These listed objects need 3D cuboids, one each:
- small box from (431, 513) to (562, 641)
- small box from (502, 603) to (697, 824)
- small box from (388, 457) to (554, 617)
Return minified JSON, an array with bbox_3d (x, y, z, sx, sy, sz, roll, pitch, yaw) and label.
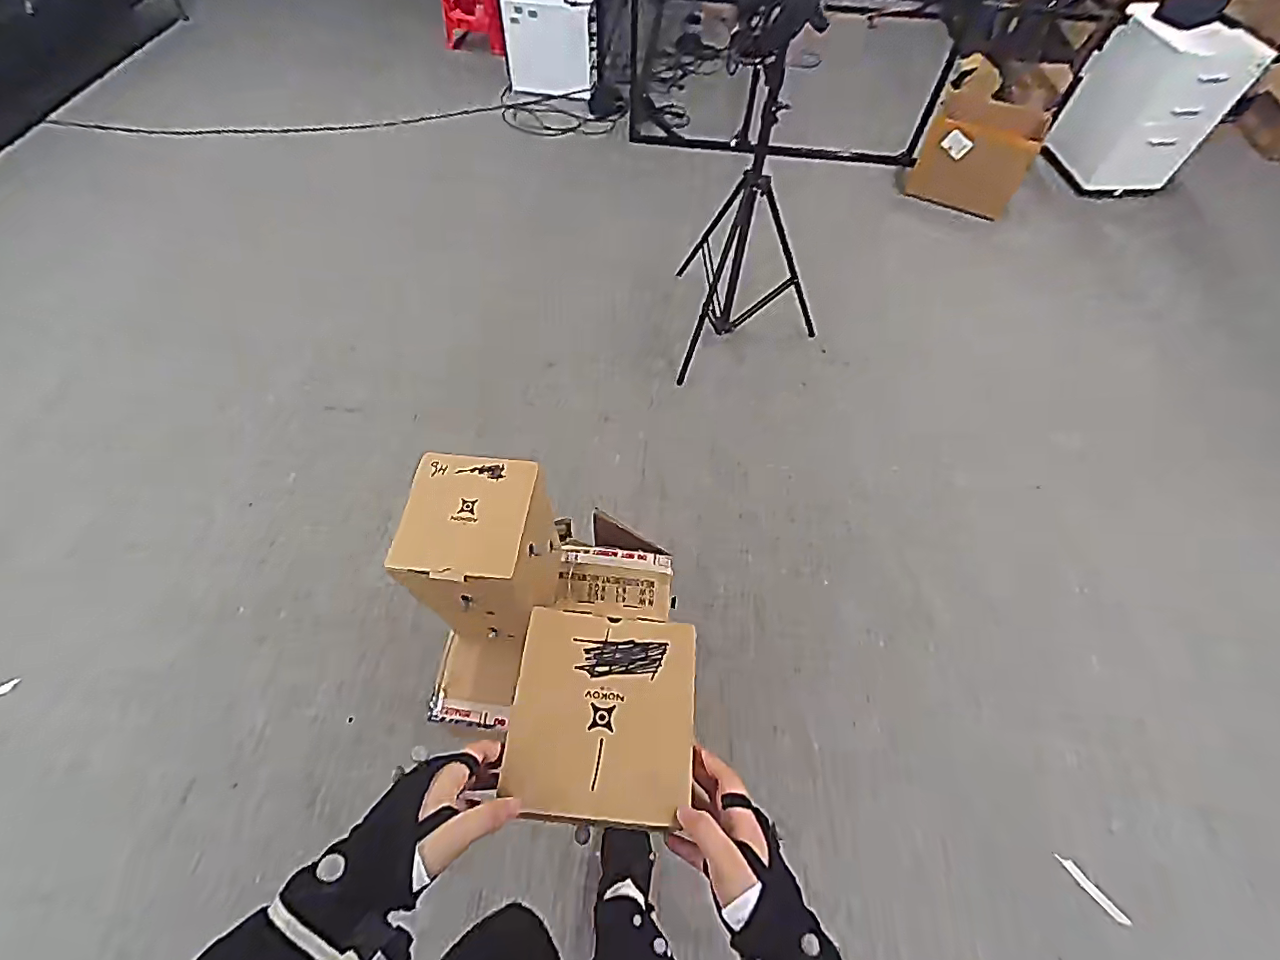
[{"bbox_3d":[-0.232,0.163,0.926,0.168,0.176,0.179,3,60,2],"label":"small box"},{"bbox_3d":[-0.037,0.248,0.566,0.168,0.176,0.179,6,57,-1],"label":"small box"},{"bbox_3d":[-0.226,0.088,0.780,0.168,0.176,0.179,5,60,3],"label":"small box"}]
